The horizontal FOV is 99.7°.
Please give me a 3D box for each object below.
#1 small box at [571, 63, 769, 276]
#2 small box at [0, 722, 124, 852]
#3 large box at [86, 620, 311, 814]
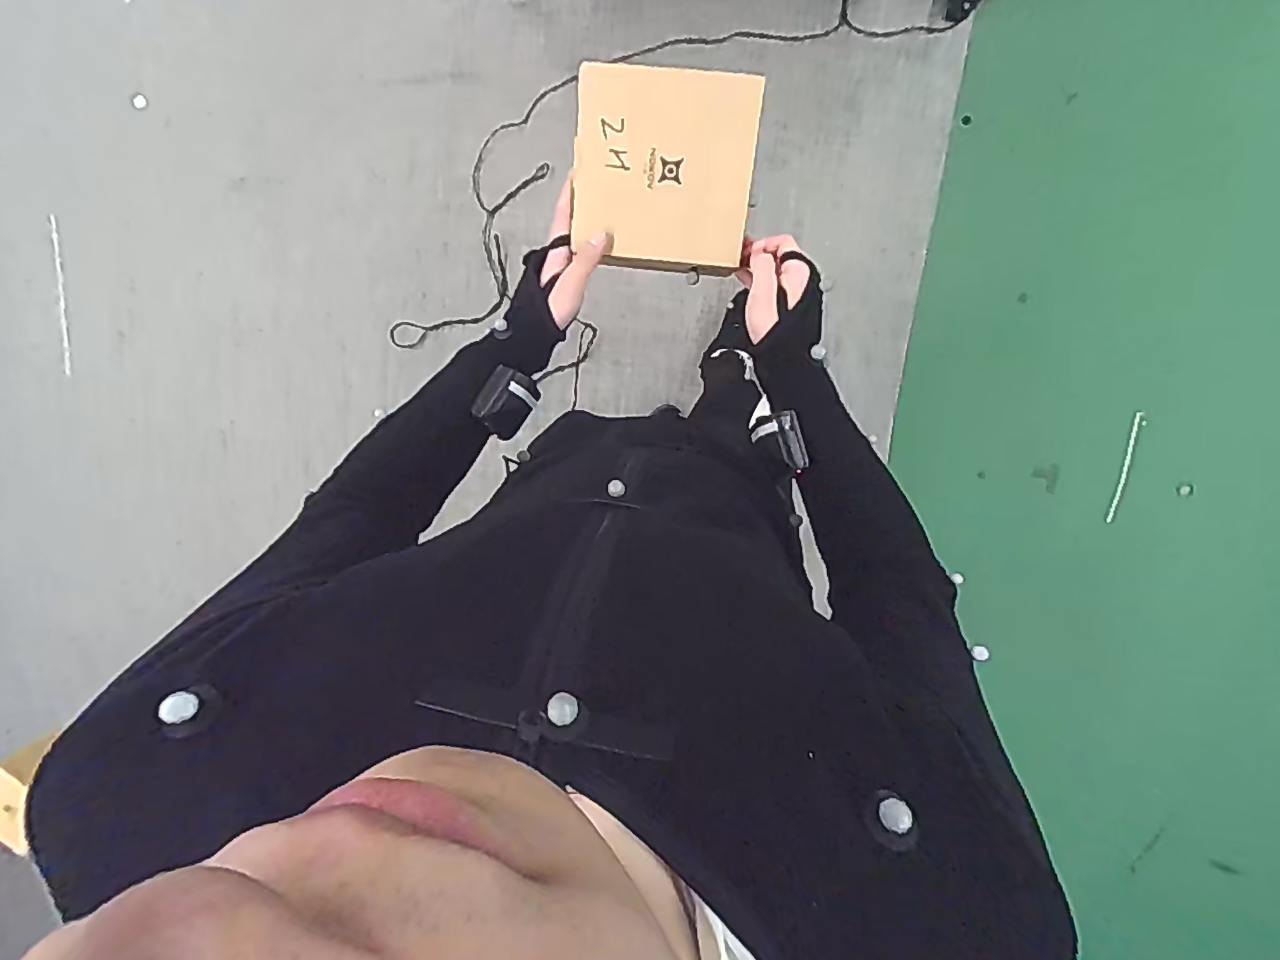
[{"bbox_3d":[0.030,-0.320,0.592,0.179,0.176,0.168,7,108,3],"label":"small box"},{"bbox_3d":[-1.398,0.707,1.271,0.179,0.176,0.168,42,99,-6],"label":"small box"},{"bbox_3d":[-1.359,0.719,1.687,0.408,0.320,0.320,38,101,-5],"label":"large box"}]
